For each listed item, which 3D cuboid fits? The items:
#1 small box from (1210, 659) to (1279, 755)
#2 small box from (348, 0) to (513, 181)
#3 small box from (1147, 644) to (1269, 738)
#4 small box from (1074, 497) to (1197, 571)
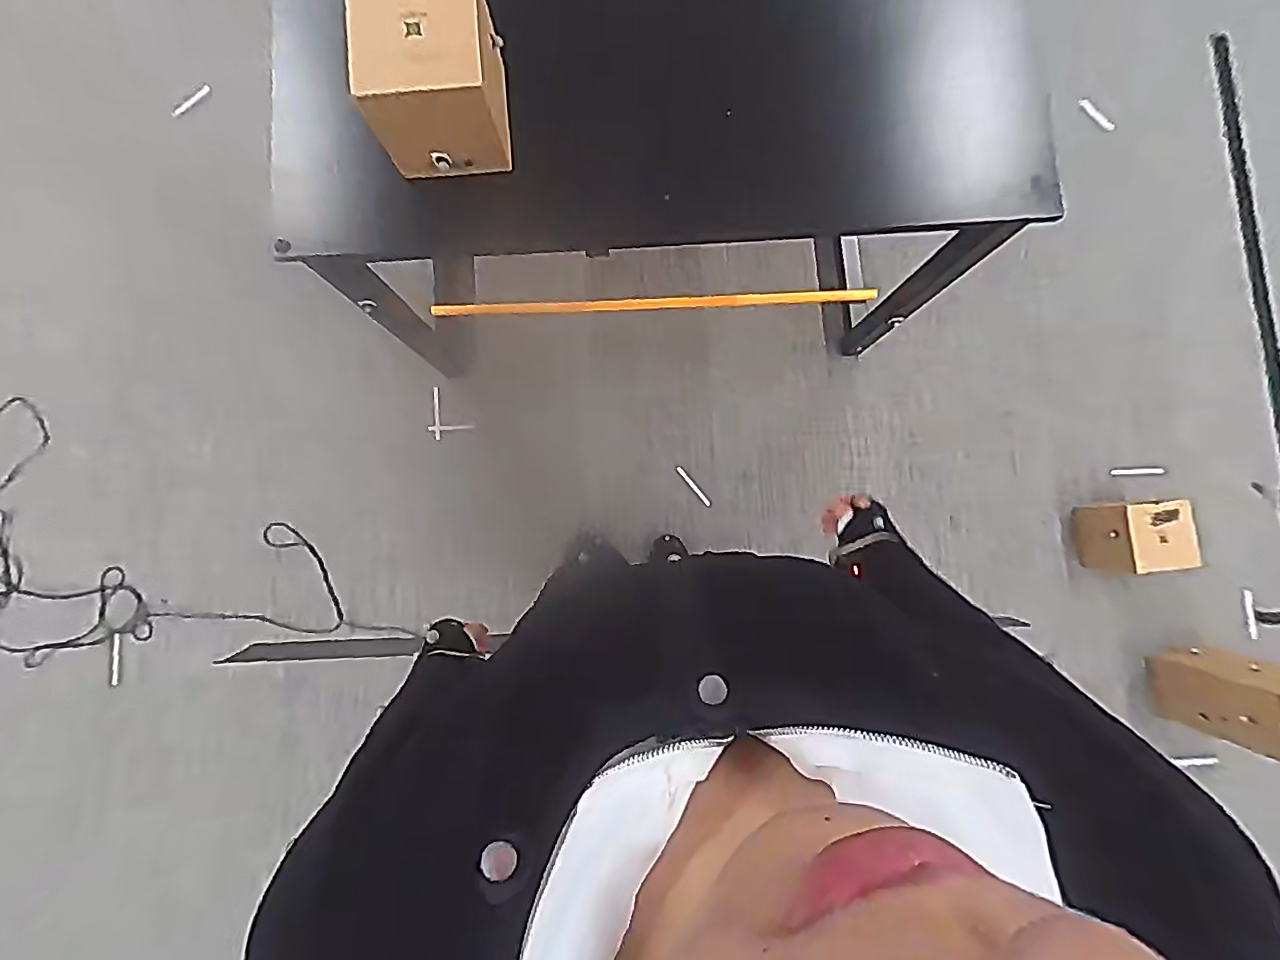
[{"bbox_3d":[1.489,0.529,1.252,0.179,0.176,0.168,-10,86,-1],"label":"small box"},{"bbox_3d":[-0.282,-0.558,0.757,0.168,0.176,0.179,-6,86,0],"label":"small box"},{"bbox_3d":[1.496,0.544,1.415,0.168,0.176,0.179,-9,85,-2],"label":"small box"},{"bbox_3d":[1.311,0.144,1.445,0.168,0.176,0.179,-6,86,-1],"label":"small box"}]
